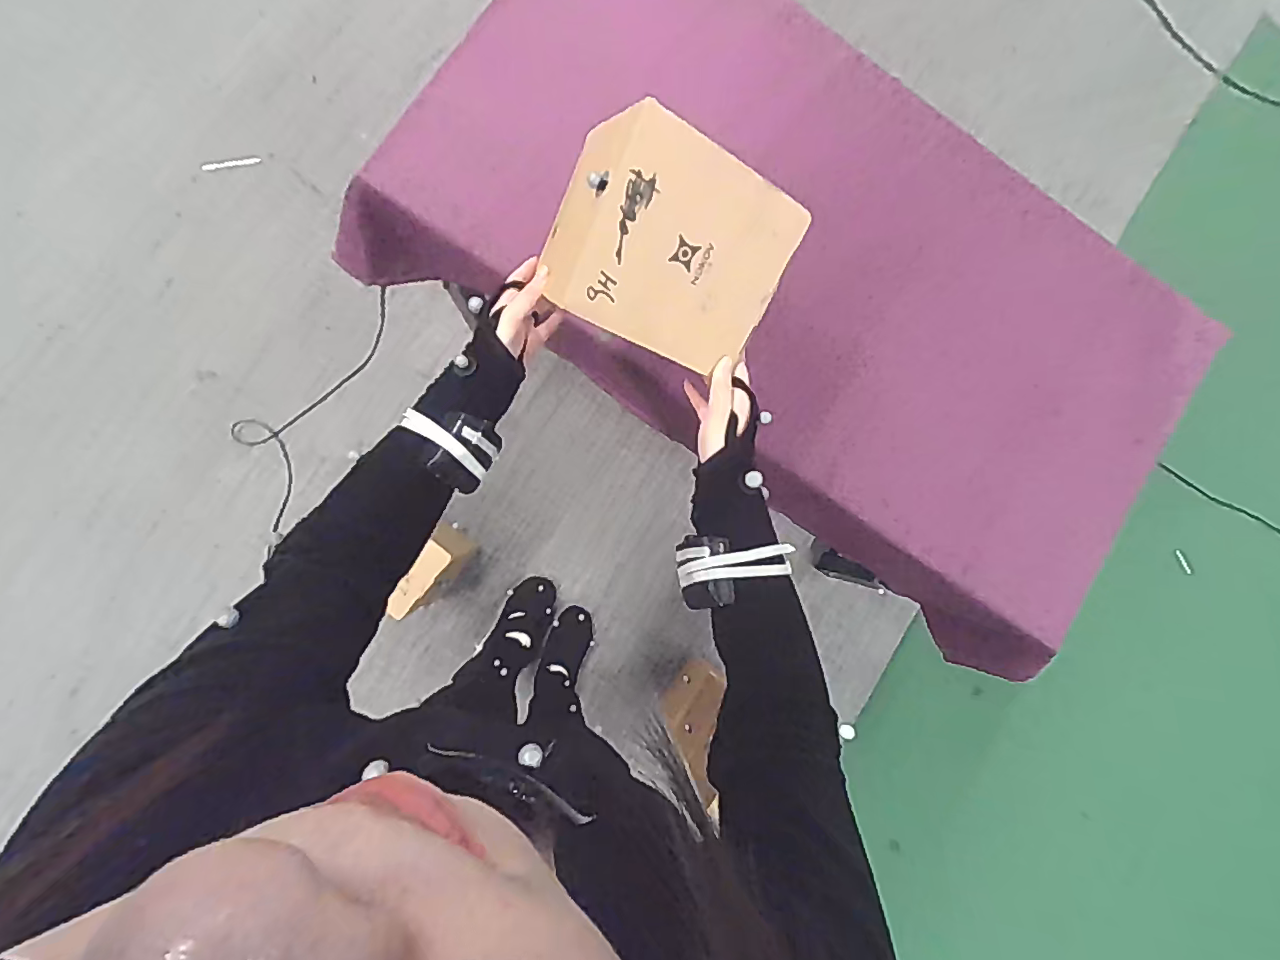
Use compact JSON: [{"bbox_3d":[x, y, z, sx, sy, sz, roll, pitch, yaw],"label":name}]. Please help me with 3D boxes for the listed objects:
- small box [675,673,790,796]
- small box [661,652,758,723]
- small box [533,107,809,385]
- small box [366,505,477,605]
[{"bbox_3d":[0.203,0.571,1.246,0.179,0.176,0.168,35,85,-6],"label":"small box"},{"bbox_3d":[0.176,0.571,1.407,0.179,0.176,0.168,38,84,-5],"label":"small box"},{"bbox_3d":[0.016,-0.216,0.521,0.179,0.176,0.168,18,106,-28],"label":"small box"},{"bbox_3d":[-0.525,0.179,1.332,0.168,0.176,0.179,37,83,-5],"label":"small box"}]
